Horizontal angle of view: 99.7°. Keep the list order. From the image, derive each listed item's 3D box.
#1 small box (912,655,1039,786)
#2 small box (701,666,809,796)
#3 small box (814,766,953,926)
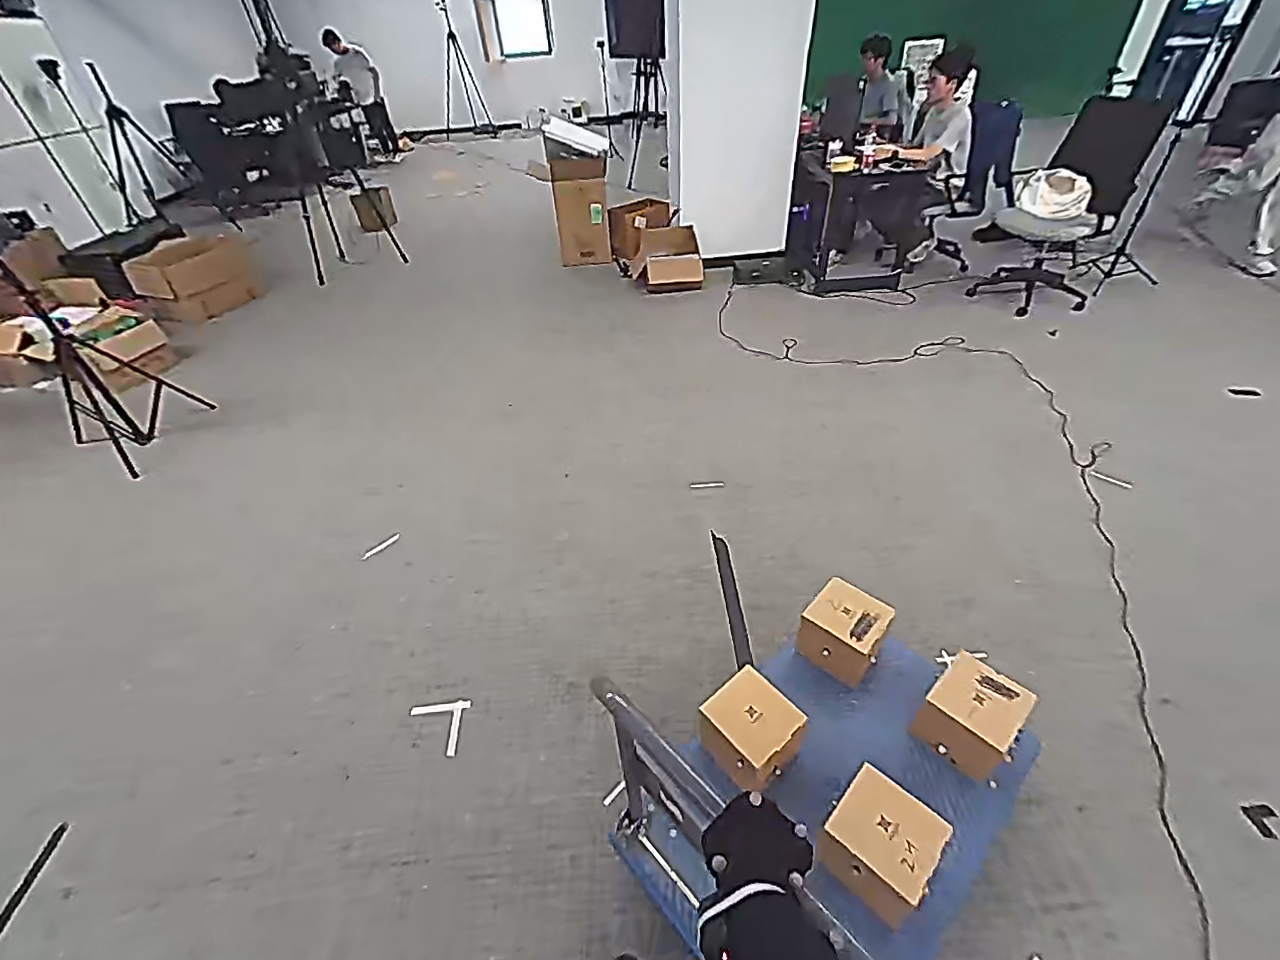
[{"bbox_3d":[0.748,0.543,1.222,0.179,0.176,0.168,-32,48,-28],"label":"small box"},{"bbox_3d":[0.252,0.573,1.234,0.168,0.176,0.179,-29,47,-27],"label":"small box"},{"bbox_3d":[0.462,0.710,1.050,0.168,0.176,0.179,-34,48,-30],"label":"small box"}]
